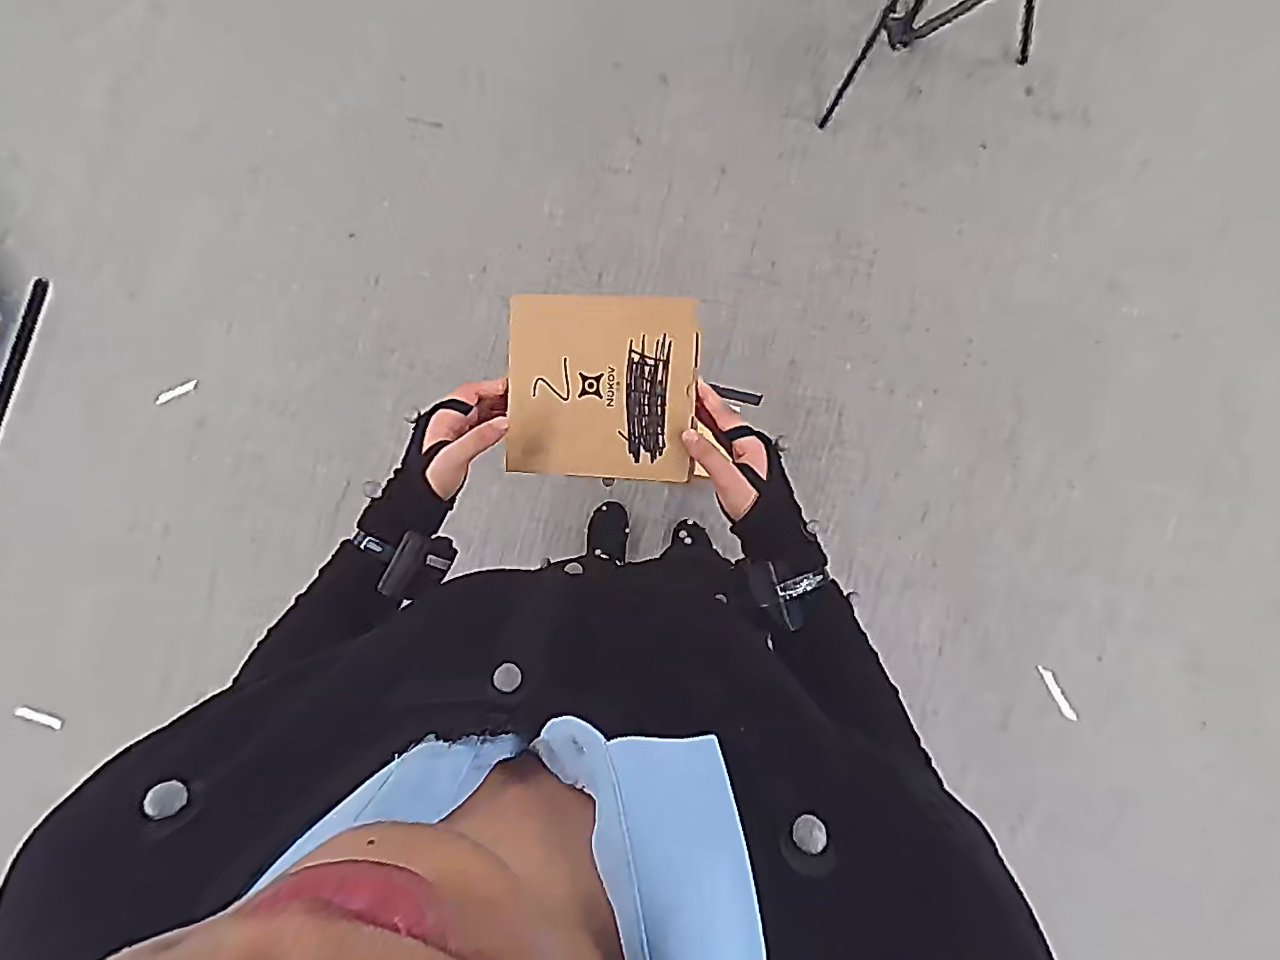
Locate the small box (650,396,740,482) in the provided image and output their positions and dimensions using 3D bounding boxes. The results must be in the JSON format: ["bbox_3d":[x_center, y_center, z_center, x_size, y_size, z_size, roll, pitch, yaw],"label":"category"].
[{"bbox_3d":[0.125,-0.089,1.263,0.179,0.176,0.168,10,88,4],"label":"small box"}]
